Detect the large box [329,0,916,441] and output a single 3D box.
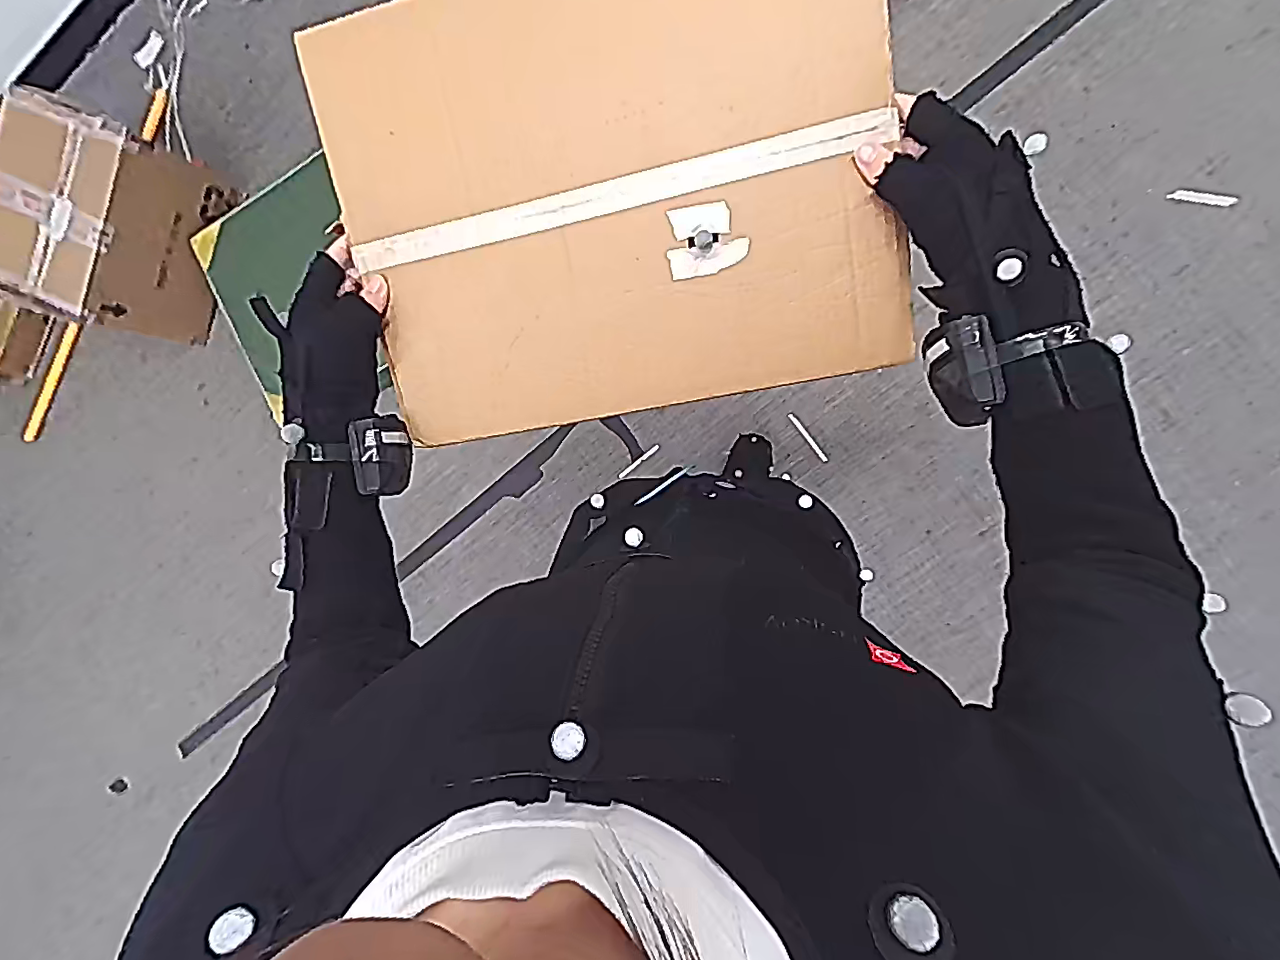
[{"bbox_3d":[0.002,-0.247,0.548,0.408,0.320,0.320,-9,103,9],"label":"large box"}]
